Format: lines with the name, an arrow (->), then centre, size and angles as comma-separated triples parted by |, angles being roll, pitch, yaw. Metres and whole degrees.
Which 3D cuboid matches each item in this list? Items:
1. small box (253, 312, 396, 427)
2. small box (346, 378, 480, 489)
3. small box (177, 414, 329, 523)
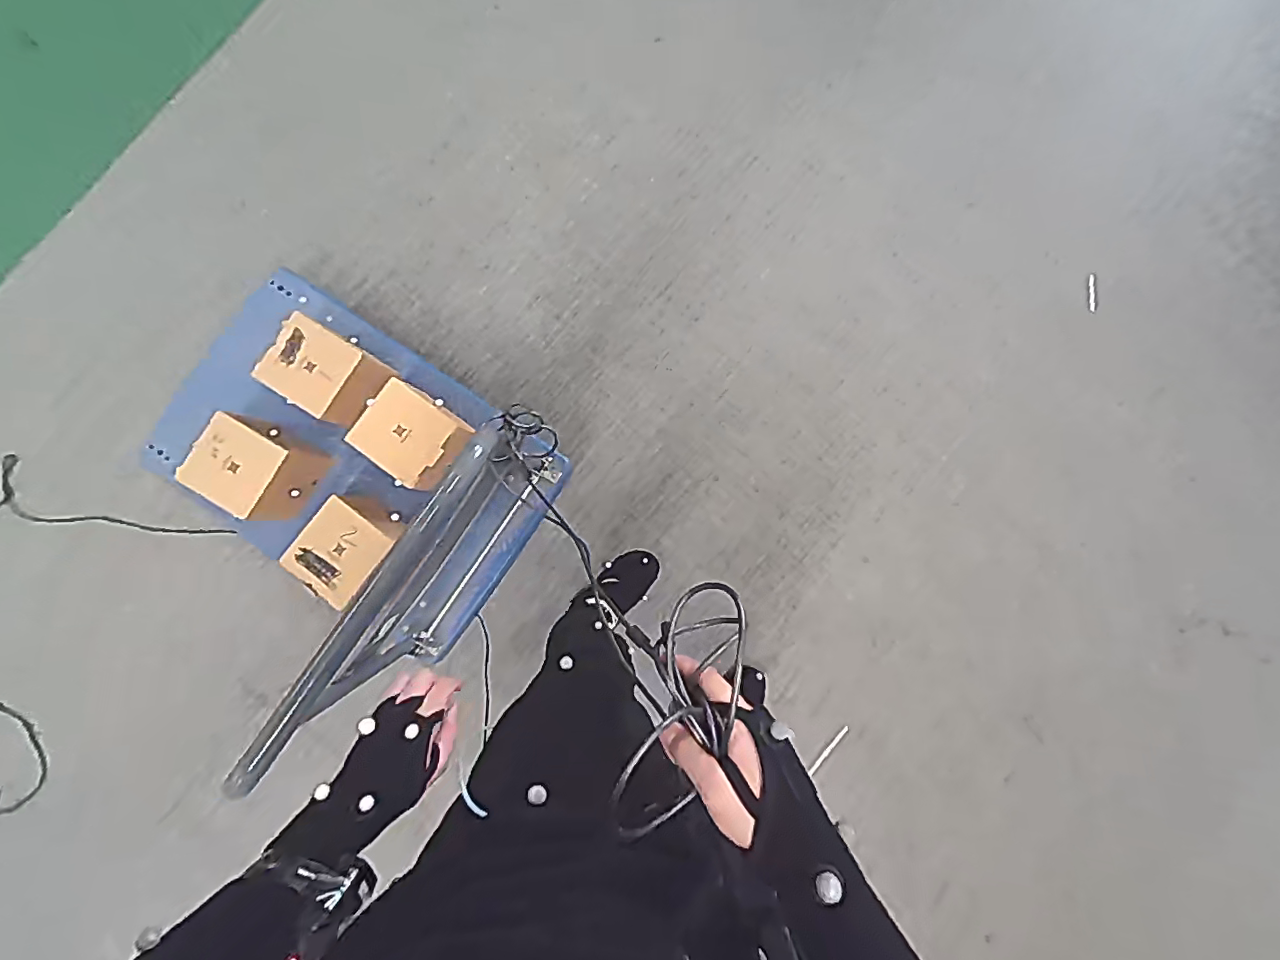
small box -> -0.684, -0.232, 1.194 | 0.179, 0.176, 0.168 | 32, 88, 1
small box -> -0.487, -0.091, 1.186 | 0.179, 0.176, 0.168 | 36, 87, 2
small box -> -0.830, -0.022, 1.183 | 0.179, 0.176, 0.168 | 31, 86, 2
